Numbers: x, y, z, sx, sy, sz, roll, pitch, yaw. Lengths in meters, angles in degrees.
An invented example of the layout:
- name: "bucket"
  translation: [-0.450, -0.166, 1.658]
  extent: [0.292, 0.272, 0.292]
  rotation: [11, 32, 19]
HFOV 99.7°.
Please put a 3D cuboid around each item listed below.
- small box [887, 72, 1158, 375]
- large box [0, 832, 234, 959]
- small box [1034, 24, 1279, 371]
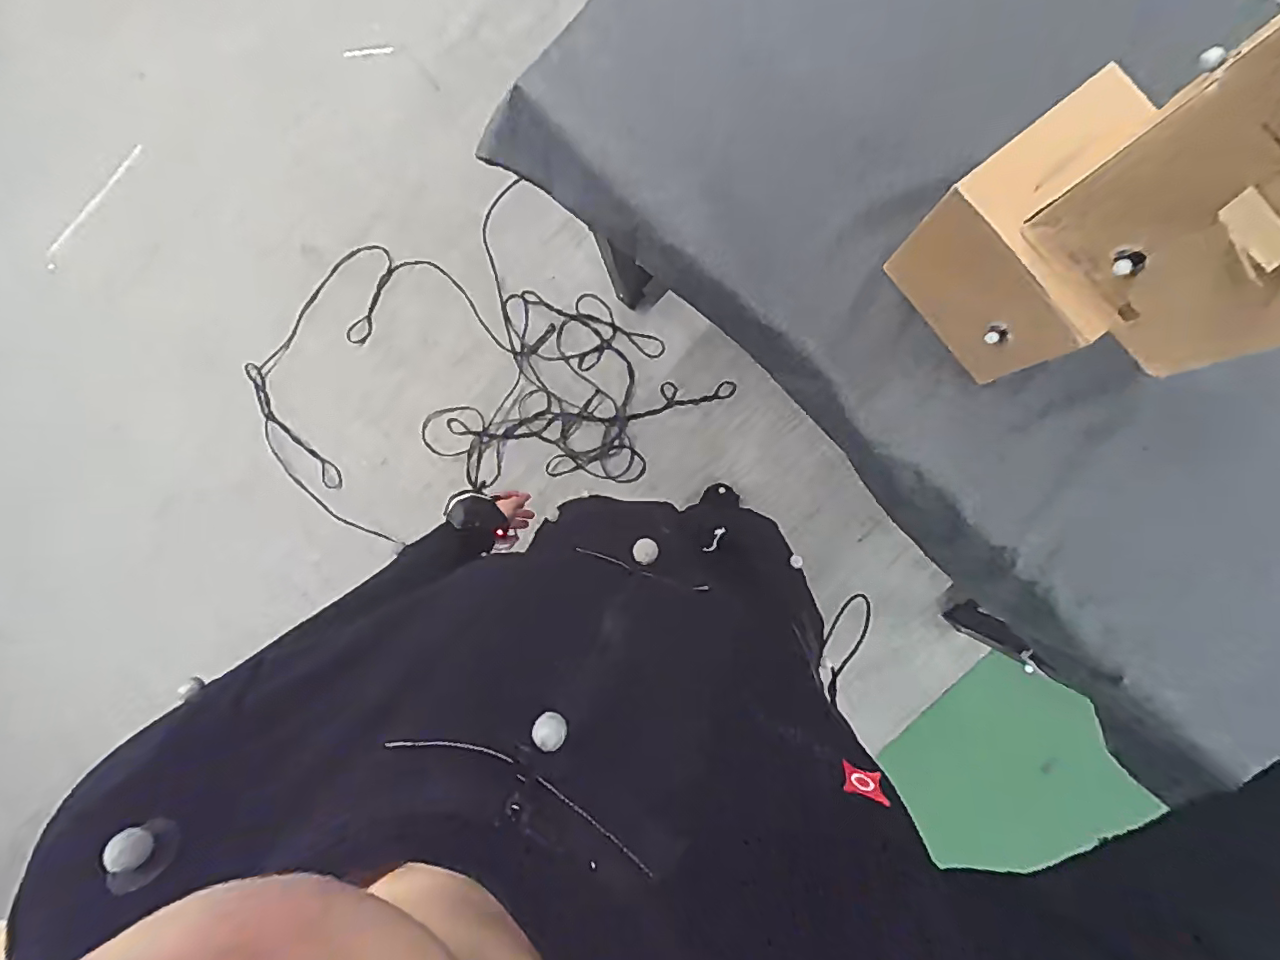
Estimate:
- name: "small box"
  translation: [0.383, -0.221, 0.525]
  extent: [0.168, 0.176, 0.179]
  rotation: [-38, 85, 2]
- name: "large box"
  translation: [-1.332, 1.195, 1.318]
  extent: [0.408, 0.320, 0.320]
  rotation: [45, 92, 6]
- name: "small box"
  translation: [0.427, -0.199, 0.359]
  extent: [0.179, 0.176, 0.168]
  rotation: [-40, 87, 2]
